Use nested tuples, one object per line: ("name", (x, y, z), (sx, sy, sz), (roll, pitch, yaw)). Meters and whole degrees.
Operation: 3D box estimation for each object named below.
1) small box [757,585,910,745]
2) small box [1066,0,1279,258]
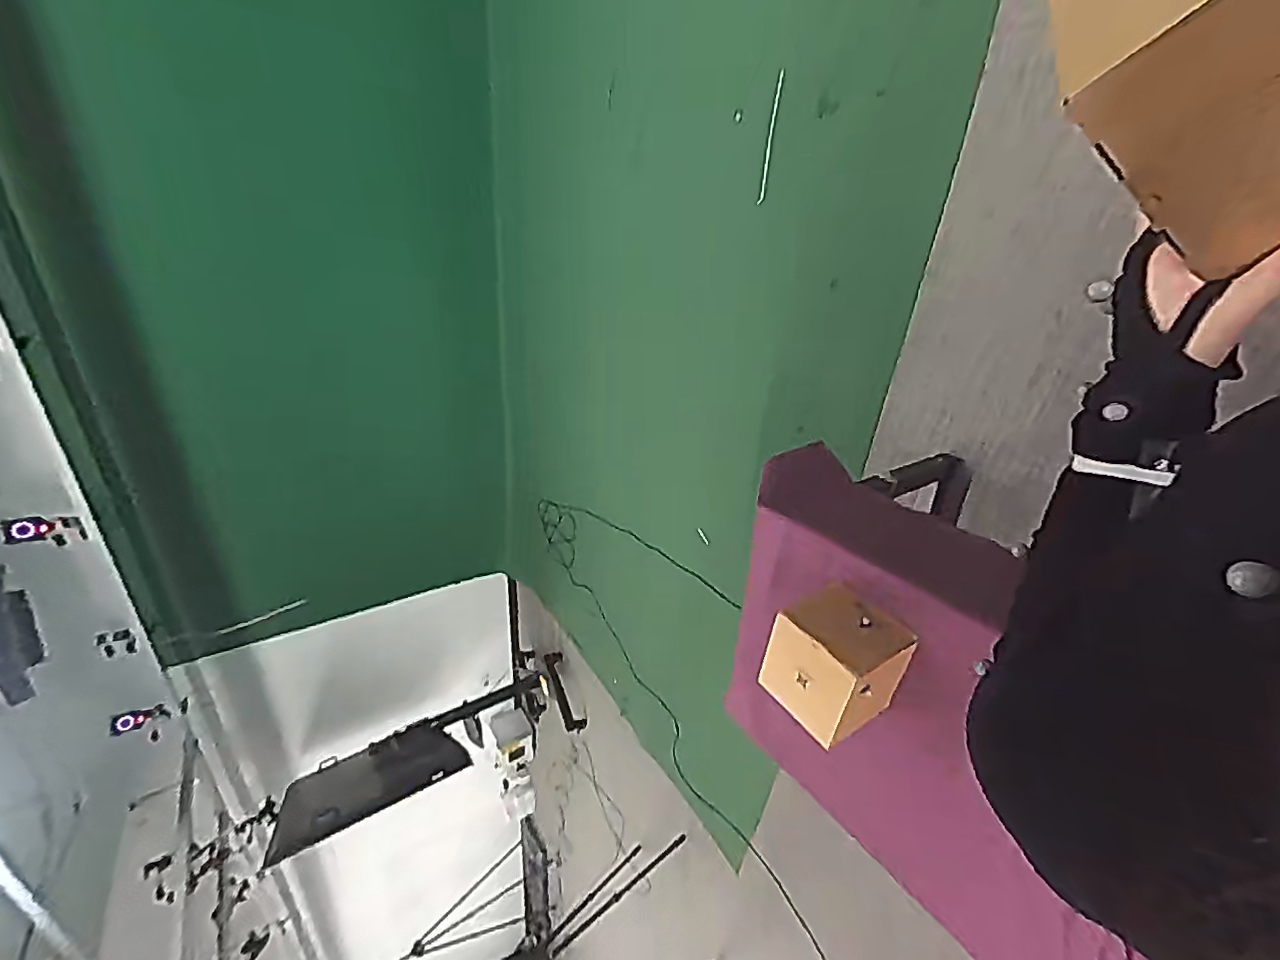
("small box", (0.338, 0.315, 0.950), (0.168, 0.176, 0.179), (39, 131, 44))
("small box", (0.337, -0.254, 0.253), (0.179, 0.168, 0.176), (-24, 45, 55))
